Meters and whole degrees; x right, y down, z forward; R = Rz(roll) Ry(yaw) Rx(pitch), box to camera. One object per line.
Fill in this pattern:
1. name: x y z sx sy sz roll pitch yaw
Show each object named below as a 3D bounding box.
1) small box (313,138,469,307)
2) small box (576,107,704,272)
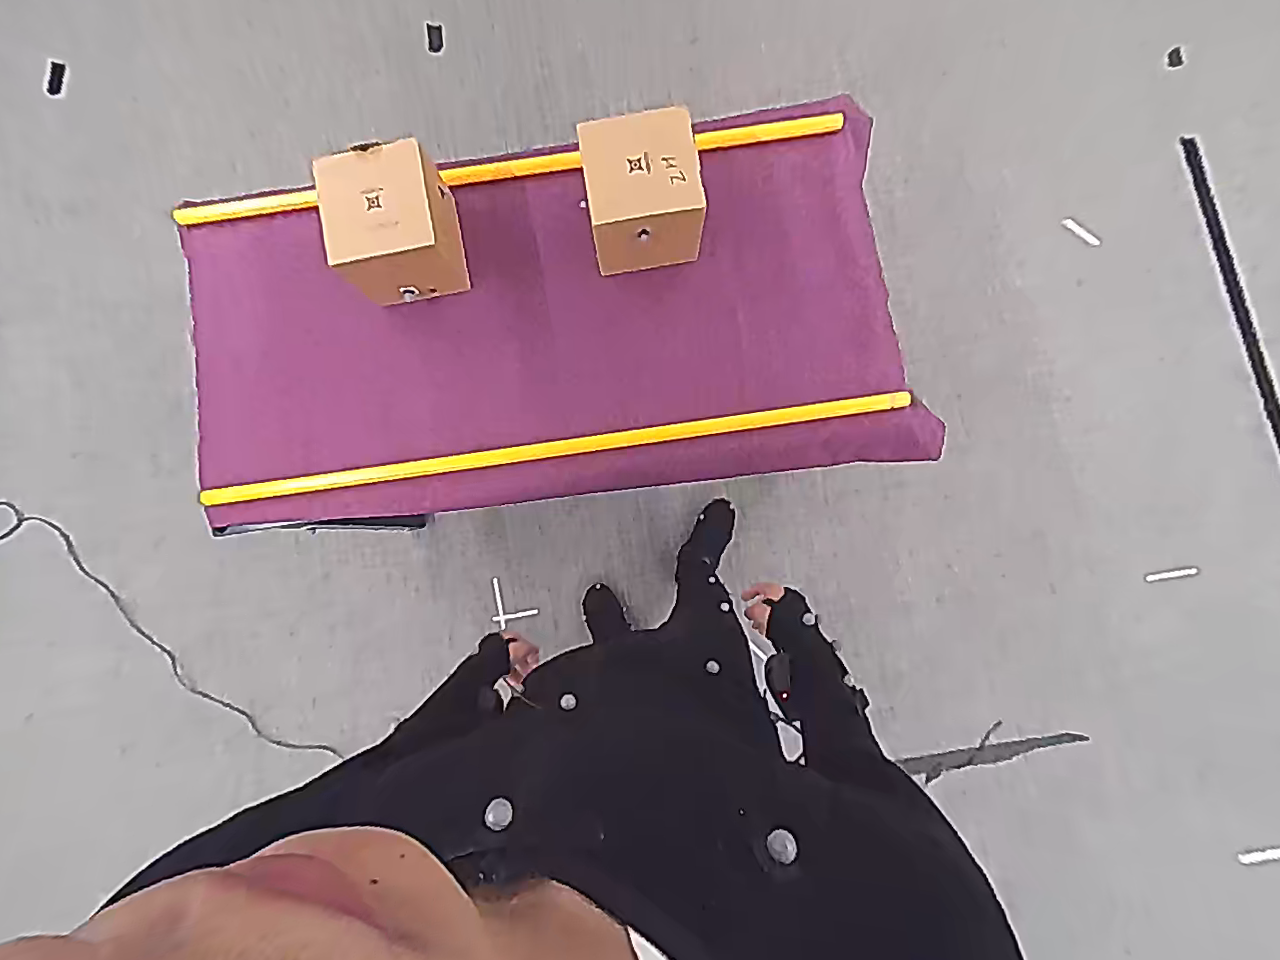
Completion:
1. small box: -0.397 -0.412 0.887 0.168 0.176 0.179 -11 85 0
2. small box: 0.002 -0.463 0.887 0.179 0.176 0.168 -9 86 0
